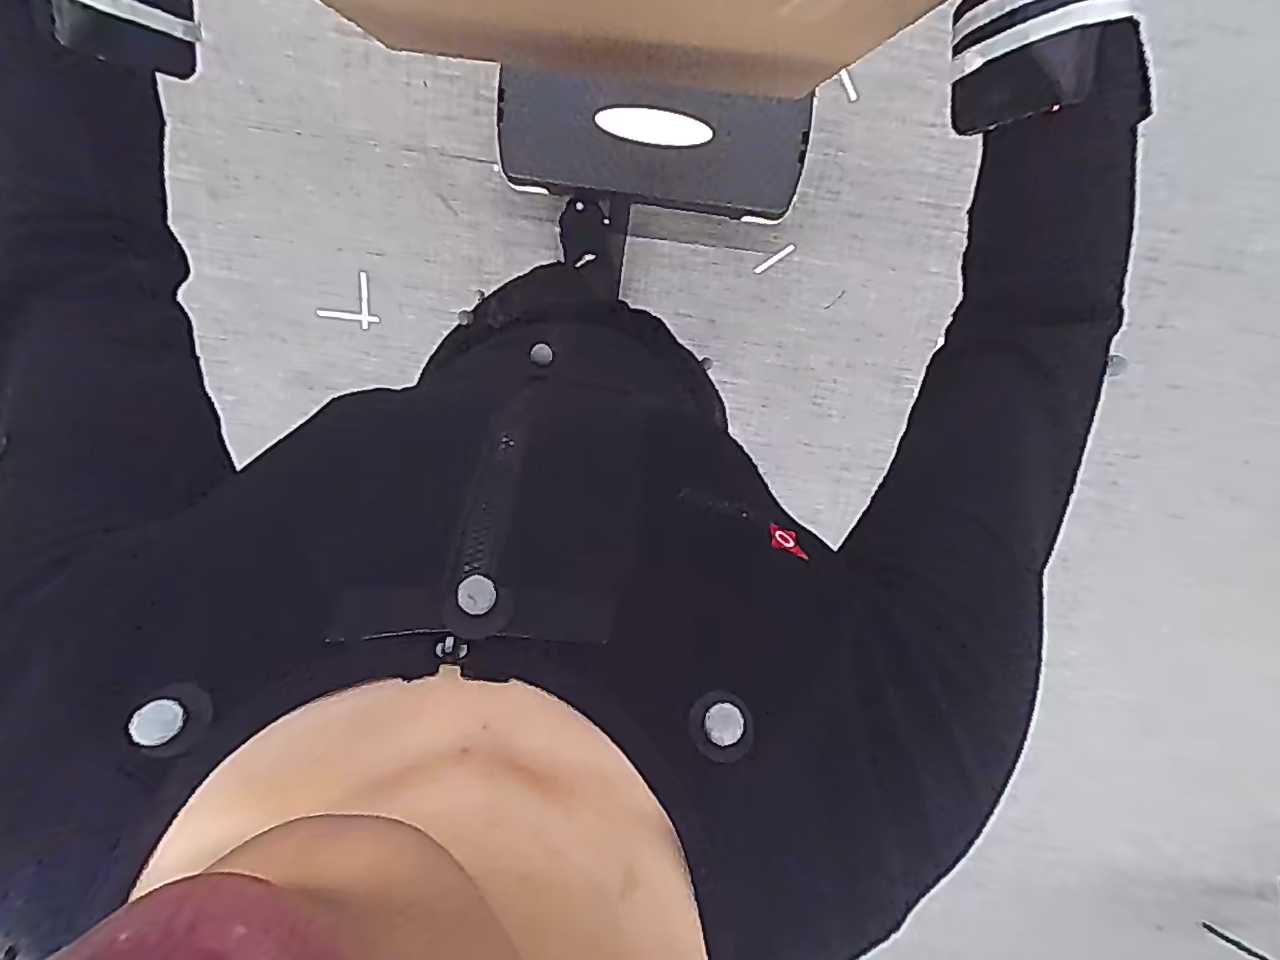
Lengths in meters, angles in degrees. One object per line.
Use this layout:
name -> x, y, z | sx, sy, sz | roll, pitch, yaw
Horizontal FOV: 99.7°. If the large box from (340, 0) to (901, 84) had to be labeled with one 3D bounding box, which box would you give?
large box -> -0.022, -0.474, 0.328 | 0.408, 0.320, 0.320 | 4, 117, -4
